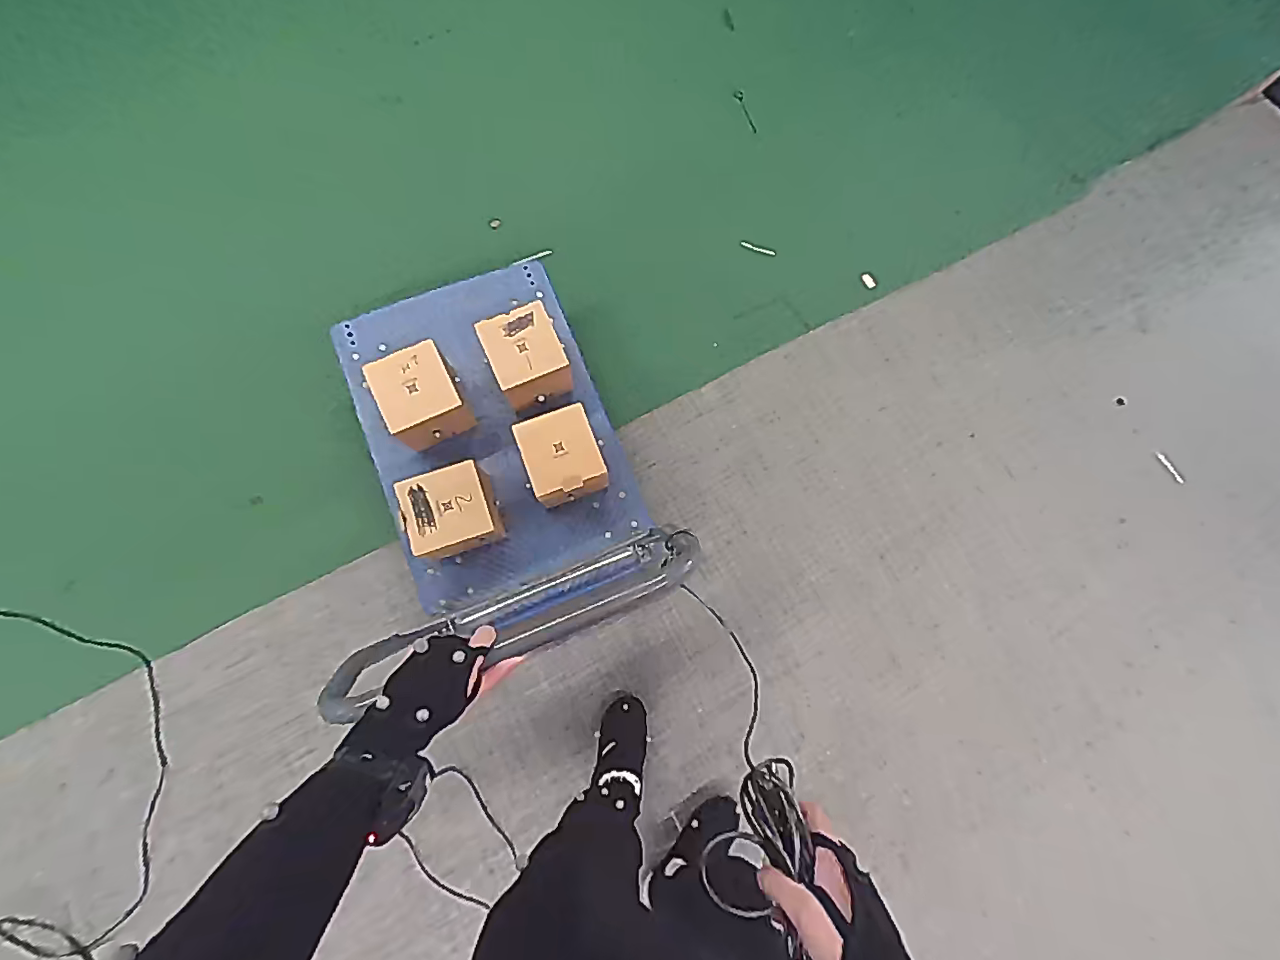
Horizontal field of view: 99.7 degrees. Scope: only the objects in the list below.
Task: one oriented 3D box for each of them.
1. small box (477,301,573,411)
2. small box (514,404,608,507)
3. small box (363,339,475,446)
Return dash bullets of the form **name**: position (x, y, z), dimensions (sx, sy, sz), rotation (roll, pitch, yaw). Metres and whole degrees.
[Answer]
- **small box**: position (-0.270, -0.292, 1.298), dimensions (0.168, 0.176, 0.179), rotation (-23, 83, -7)
- **small box**: position (-0.181, -0.052, 1.262), dimensions (0.168, 0.176, 0.179), rotation (-20, 82, -8)
- **small box**: position (-0.506, -0.193, 1.263), dimensions (0.168, 0.176, 0.179), rotation (-25, 83, -9)
